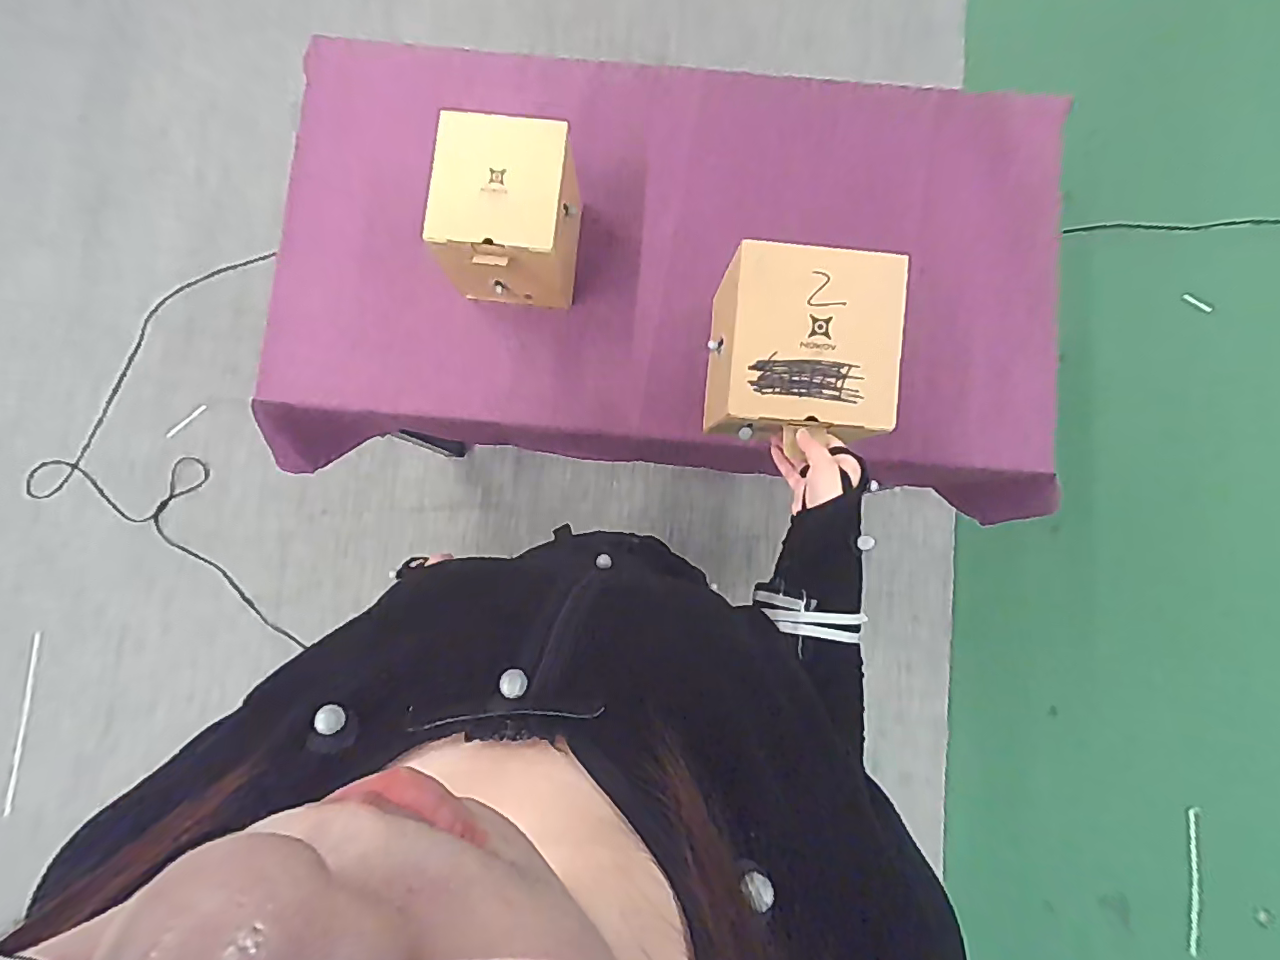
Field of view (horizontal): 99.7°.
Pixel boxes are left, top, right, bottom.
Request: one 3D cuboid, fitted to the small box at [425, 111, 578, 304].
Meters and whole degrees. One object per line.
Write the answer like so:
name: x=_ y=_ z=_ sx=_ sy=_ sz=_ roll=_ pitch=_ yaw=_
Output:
small box: x=-0.183 y=-0.376 z=0.771 sx=0.168 sy=0.176 sz=0.179 roll=6 pitch=85 yaw=0
